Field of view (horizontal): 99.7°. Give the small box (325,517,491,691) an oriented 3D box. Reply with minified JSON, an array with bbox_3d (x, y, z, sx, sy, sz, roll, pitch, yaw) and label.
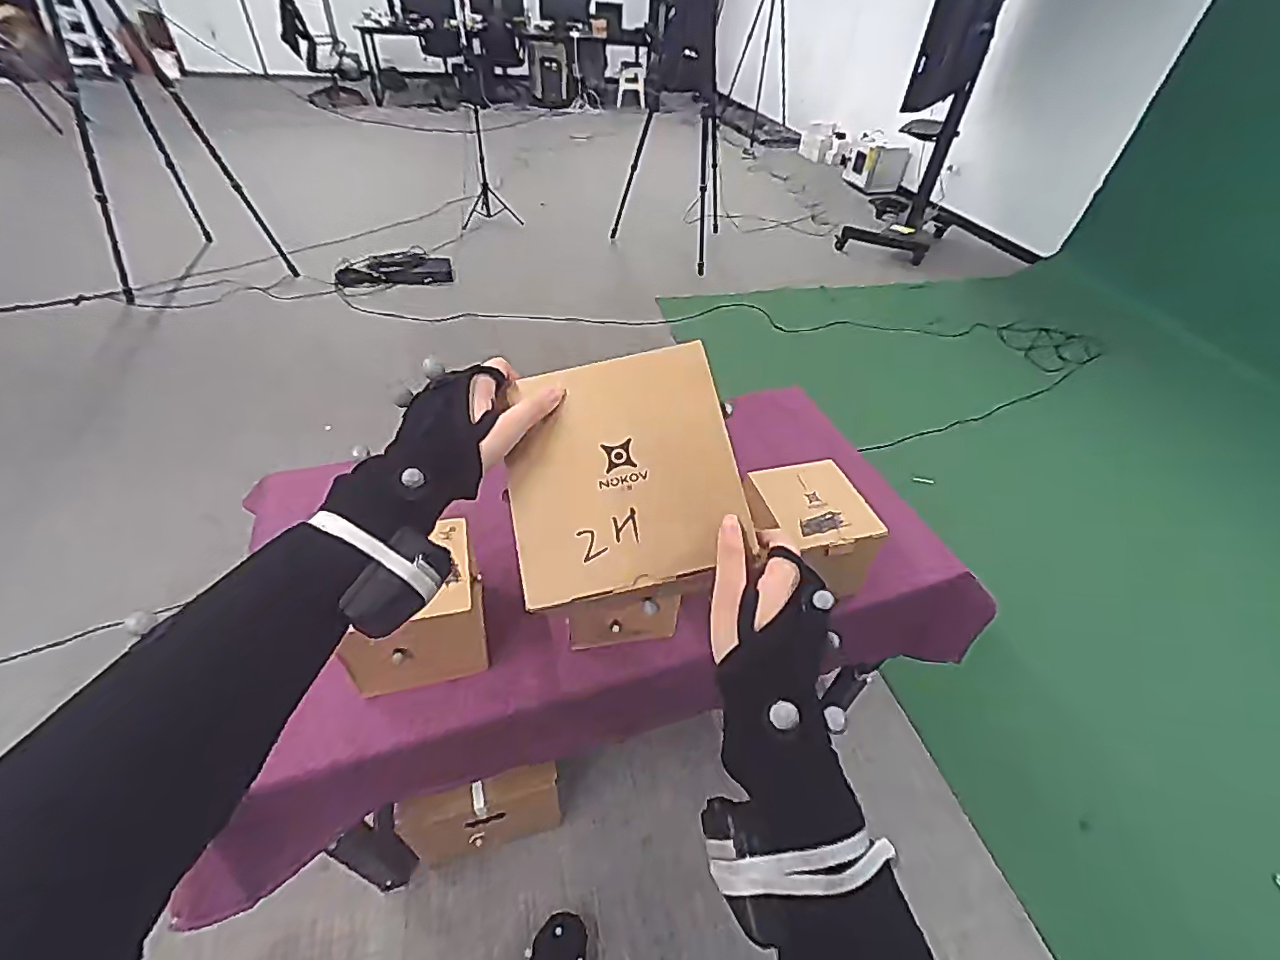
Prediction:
[{"bbox_3d":[-0.321,0.180,0.779,0.179,0.176,0.168,-9,47,-13],"label":"small box"}]

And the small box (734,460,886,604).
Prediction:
[{"bbox_3d":[0.275,0.093,0.920,0.168,0.176,0.179,-8,45,-13],"label":"small box"}]

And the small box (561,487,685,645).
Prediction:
[{"bbox_3d":[-0.036,0.135,0.853,0.168,0.176,0.179,-5,46,-10],"label":"small box"}]
